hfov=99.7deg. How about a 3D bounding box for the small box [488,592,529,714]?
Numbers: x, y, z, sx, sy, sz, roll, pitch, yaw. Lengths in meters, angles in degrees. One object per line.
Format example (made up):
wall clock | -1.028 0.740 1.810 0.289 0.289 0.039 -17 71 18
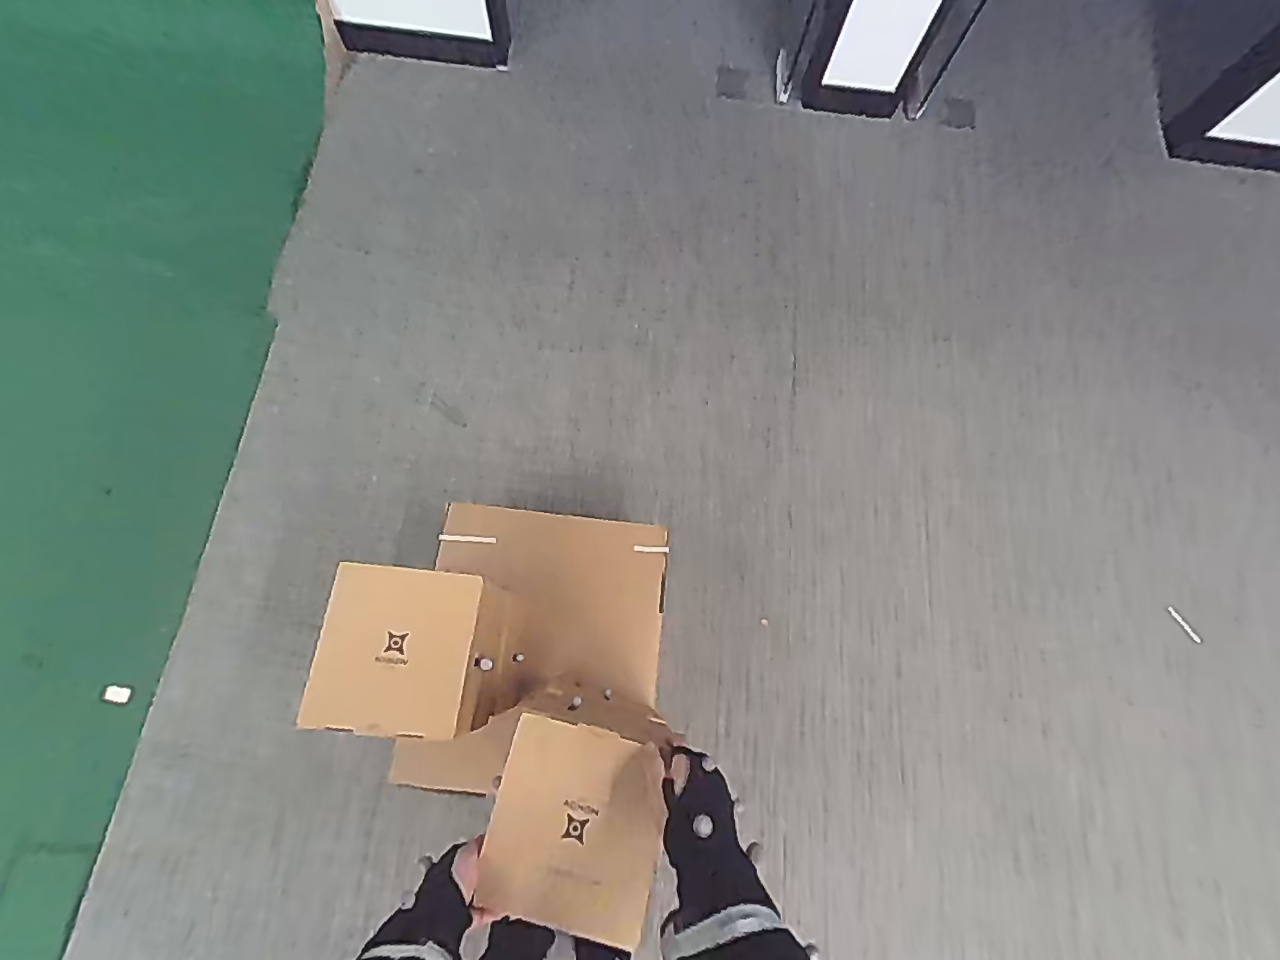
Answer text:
small box | -0.273 0.254 0.824 0.179 0.176 0.168 5 71 -1

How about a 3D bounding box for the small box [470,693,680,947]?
small box | -0.060 0.349 0.598 0.168 0.176 0.179 14 75 5

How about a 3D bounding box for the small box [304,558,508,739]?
small box | -0.268 0.205 0.669 0.168 0.176 0.179 7 73 -1
